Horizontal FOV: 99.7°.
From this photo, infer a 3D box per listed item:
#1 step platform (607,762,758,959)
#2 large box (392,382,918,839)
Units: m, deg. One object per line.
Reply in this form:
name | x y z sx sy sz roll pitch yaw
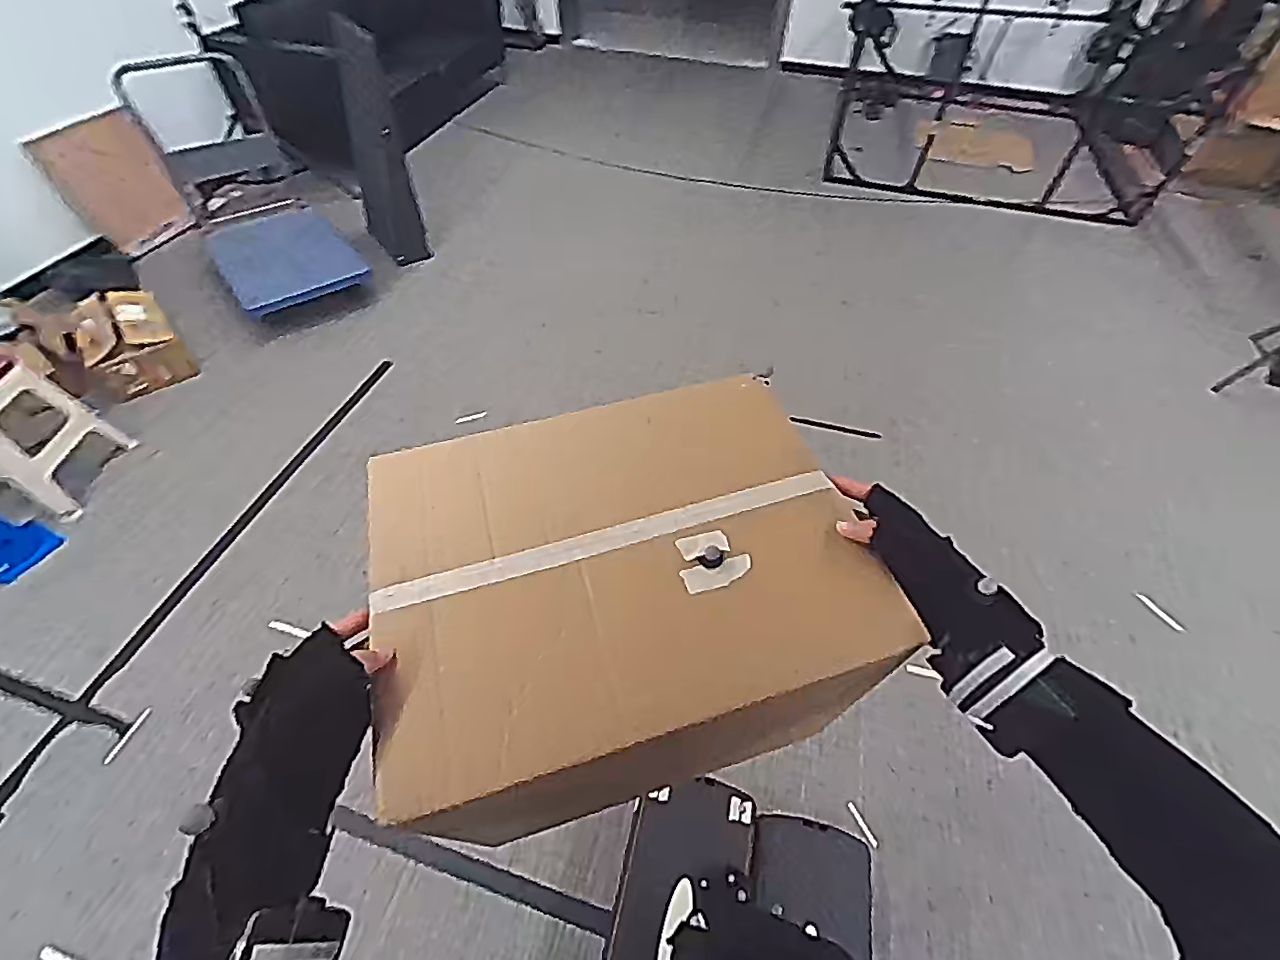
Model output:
step platform | 0.084 0.995 1.207 0.286 0.204 0.684 11 51 7
large box | -0.010 0.144 0.597 0.408 0.320 0.320 -14 55 -10
